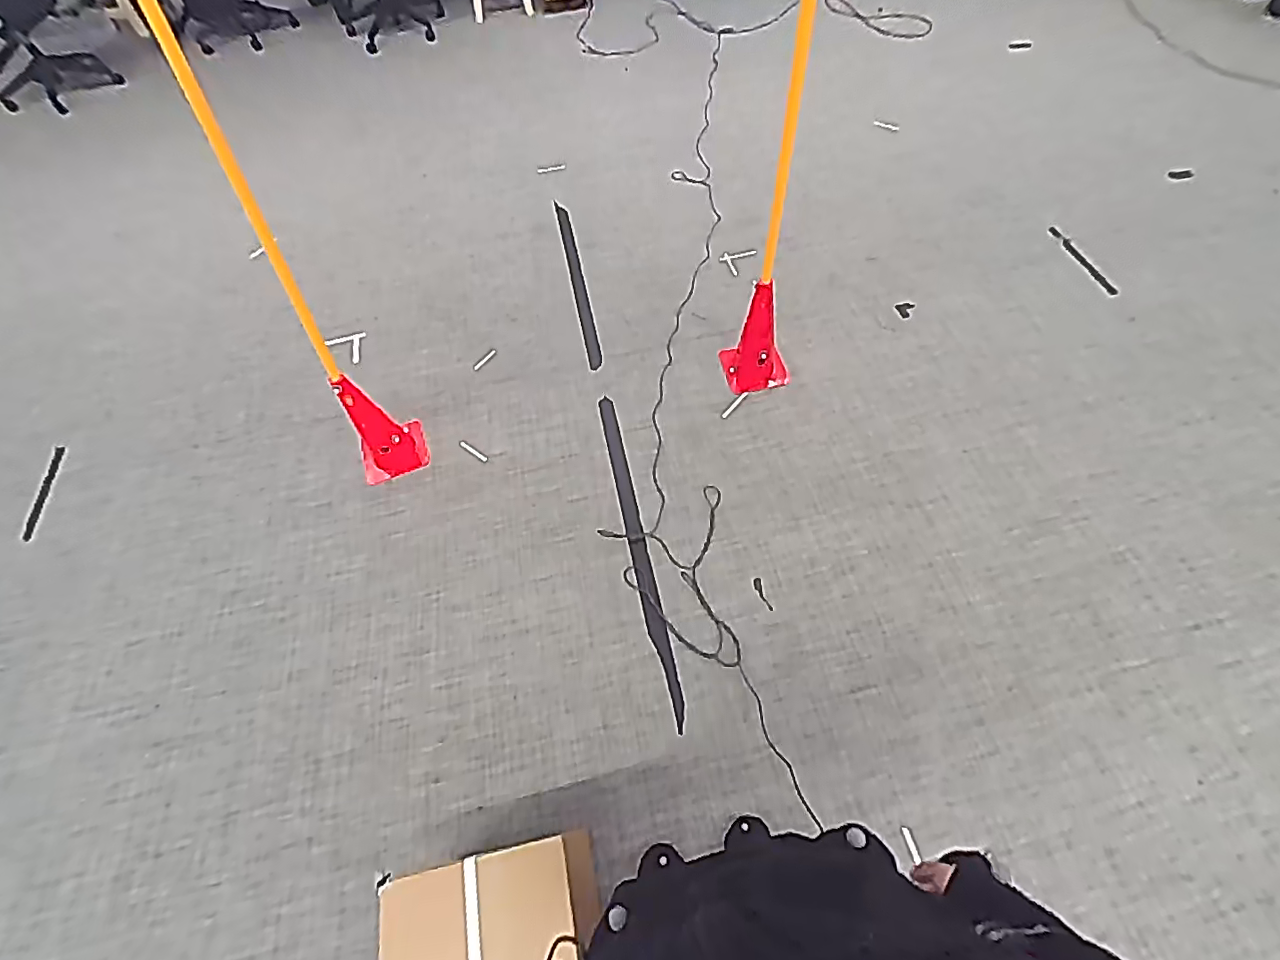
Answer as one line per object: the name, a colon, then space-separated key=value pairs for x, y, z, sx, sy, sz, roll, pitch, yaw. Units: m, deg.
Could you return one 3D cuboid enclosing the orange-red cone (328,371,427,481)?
orange-red cone: x=-0.801 y=-0.184 z=1.588 sx=0.199 sy=0.360 sz=0.198 roll=-21 pitch=59 yaw=-7
